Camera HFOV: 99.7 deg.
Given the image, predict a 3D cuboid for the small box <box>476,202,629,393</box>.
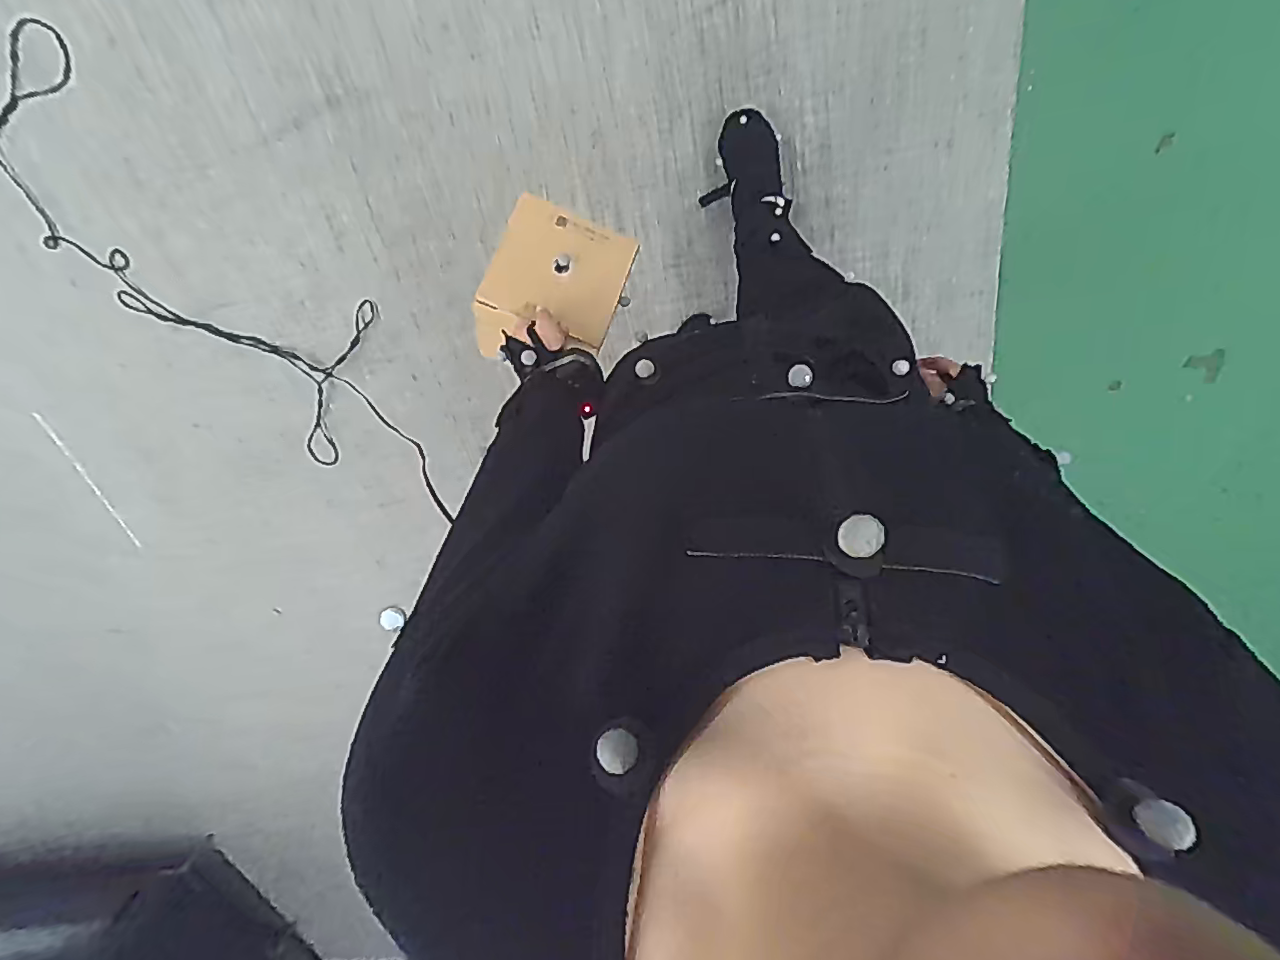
[{"bbox_3d":[-0.123,-0.253,0.770,0.168,0.179,0.176,19,76,-9],"label":"small box"}]
